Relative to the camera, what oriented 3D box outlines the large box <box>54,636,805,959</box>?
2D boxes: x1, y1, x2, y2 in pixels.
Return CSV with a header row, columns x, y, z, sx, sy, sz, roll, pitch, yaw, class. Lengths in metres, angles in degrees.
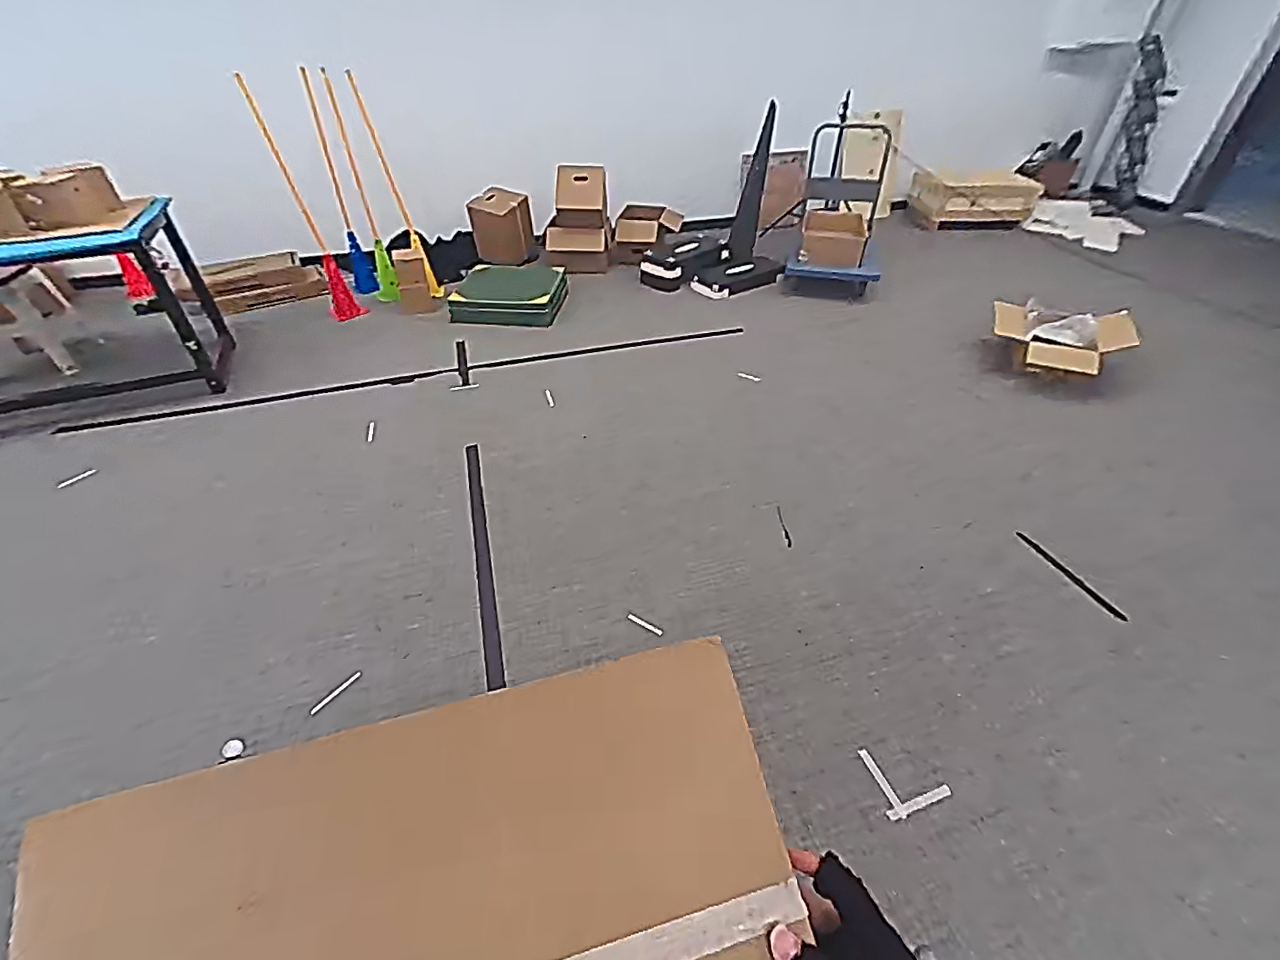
x,y,z,sx,sy,sz,roll,pitch,yaw,class
-0.118,0.346,0.434,0.408,0.320,0.320,-12,71,-11,large box
